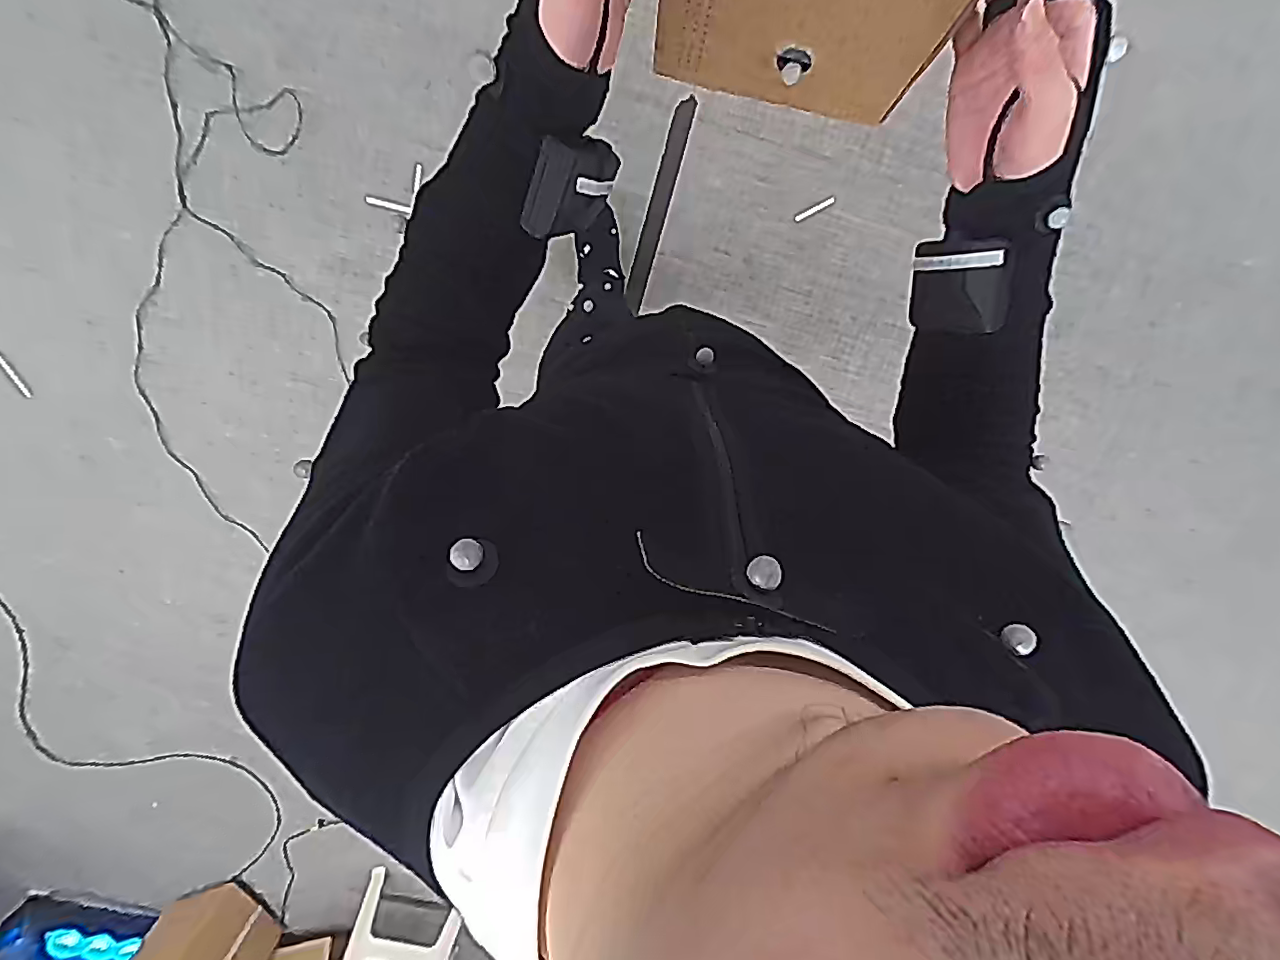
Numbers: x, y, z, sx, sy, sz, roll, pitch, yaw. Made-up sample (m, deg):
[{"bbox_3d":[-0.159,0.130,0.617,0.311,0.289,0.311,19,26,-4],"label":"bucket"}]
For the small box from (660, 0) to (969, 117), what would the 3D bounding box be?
[{"bbox_3d":[0.109,-0.352,0.300,0.176,0.179,0.168,11,94,-2],"label":"small box"}]
